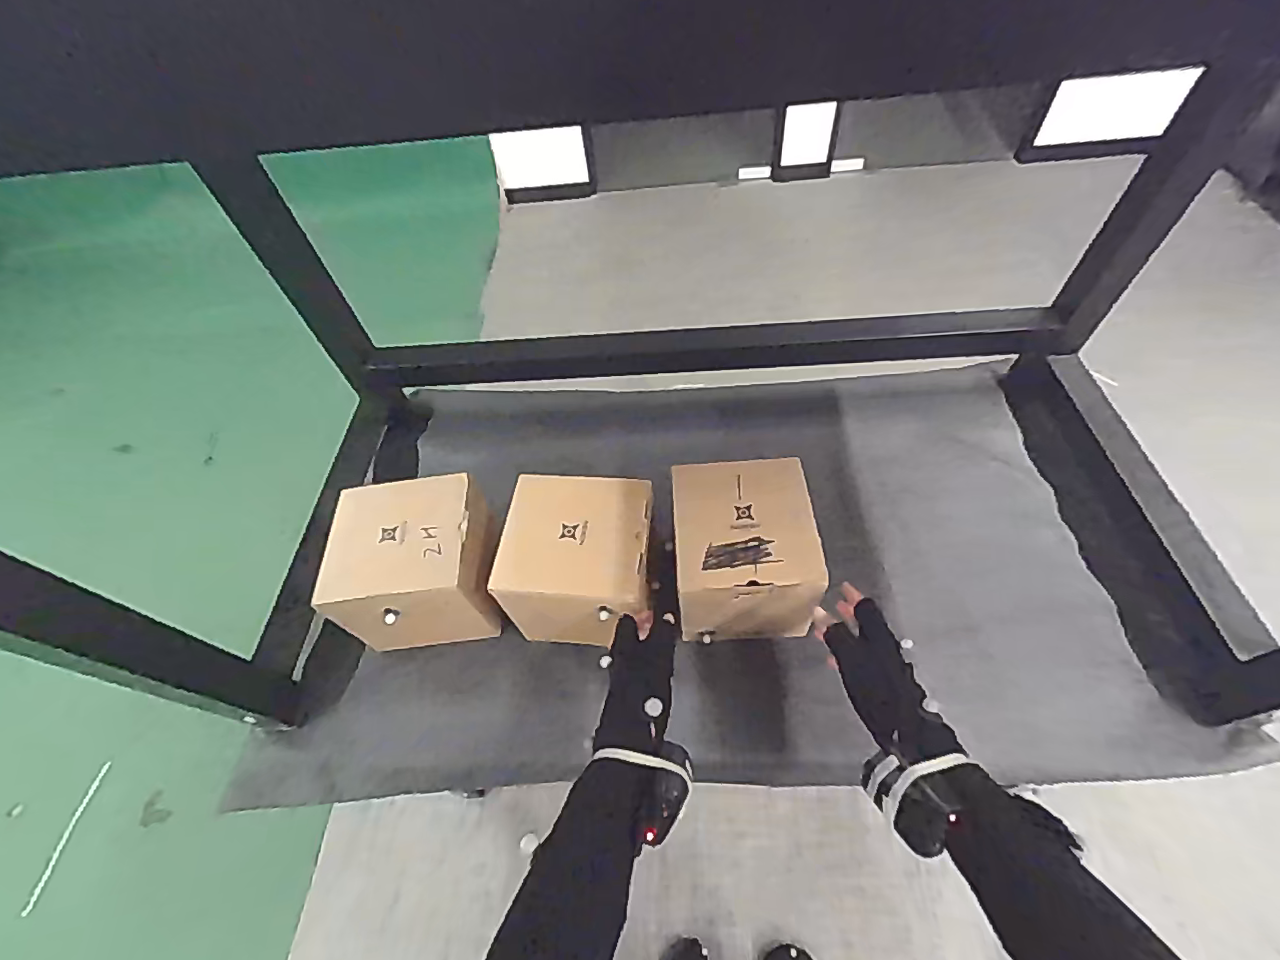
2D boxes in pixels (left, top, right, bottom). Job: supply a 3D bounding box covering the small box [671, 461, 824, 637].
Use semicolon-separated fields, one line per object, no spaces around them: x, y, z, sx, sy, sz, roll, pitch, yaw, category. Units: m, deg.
0.128;0.097;0.700;0.168;0.176;0.179;-3;54;4;small box
